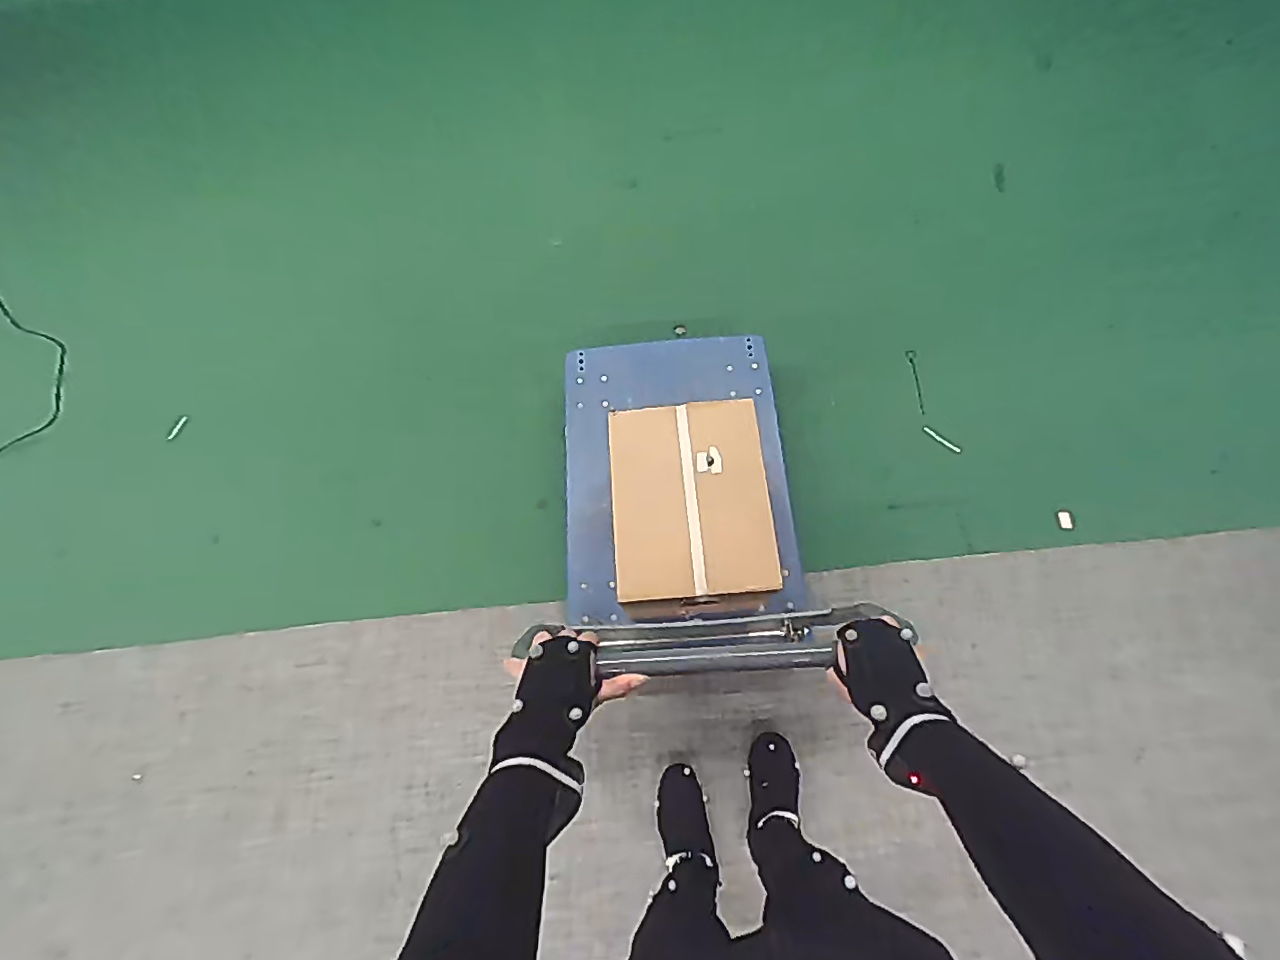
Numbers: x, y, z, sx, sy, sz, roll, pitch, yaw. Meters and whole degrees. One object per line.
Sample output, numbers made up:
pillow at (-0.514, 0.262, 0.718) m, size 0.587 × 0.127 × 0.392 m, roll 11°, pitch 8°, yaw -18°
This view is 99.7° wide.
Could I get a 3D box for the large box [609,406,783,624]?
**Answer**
large box at (0.113, 0.094, 1.220) m, size 0.320 × 0.320 × 0.408 m, roll -5°, pitch 69°, yaw 2°
